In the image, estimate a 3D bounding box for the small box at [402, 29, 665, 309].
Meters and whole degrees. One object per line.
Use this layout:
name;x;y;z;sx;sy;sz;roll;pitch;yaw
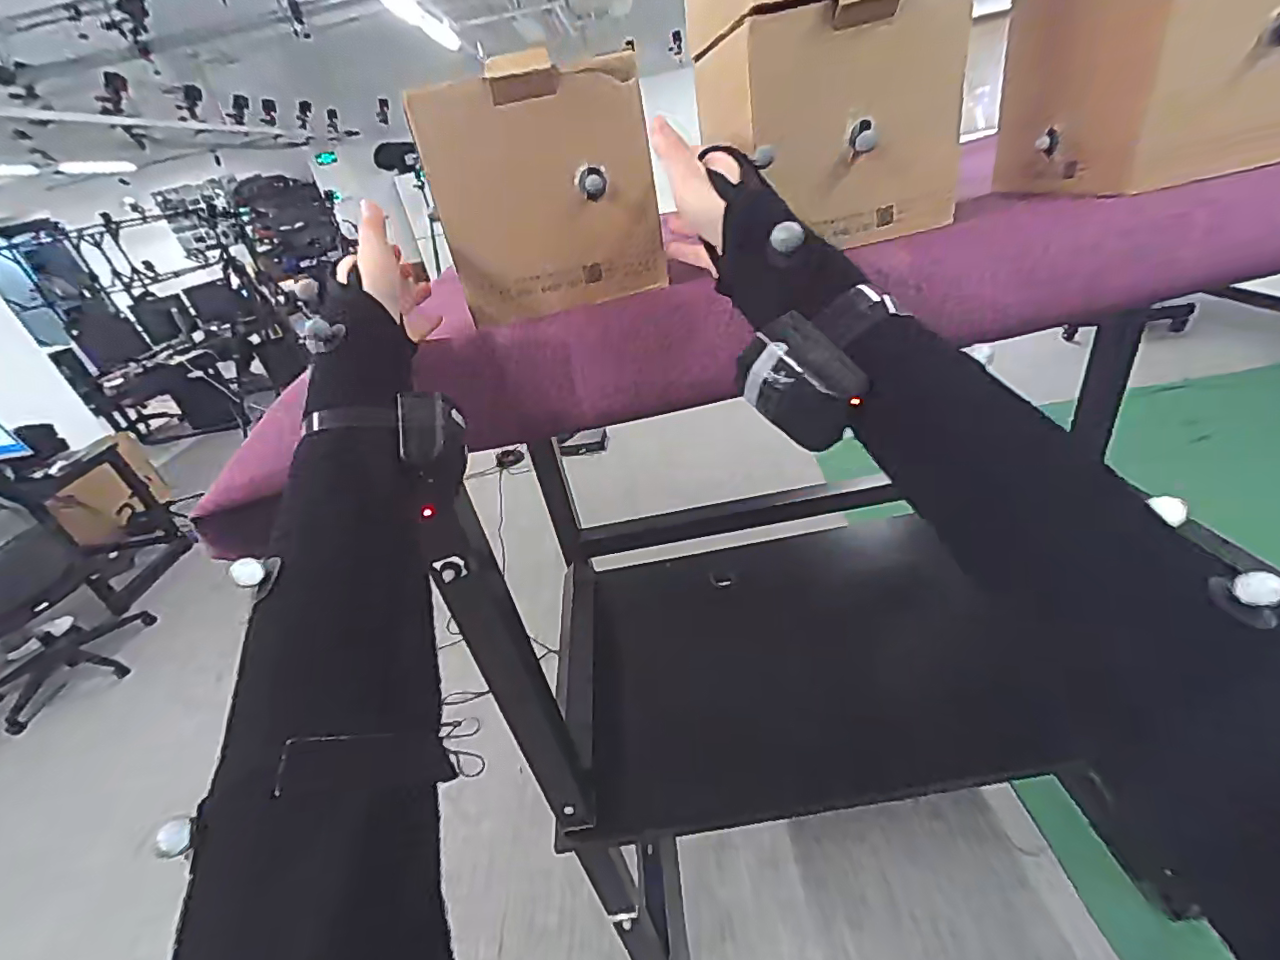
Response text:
small box;-0.080;-0.260;0.479;0.168;0.176;0.179;-12;30;-2

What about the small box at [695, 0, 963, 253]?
small box;0.155;-0.310;0.476;0.168;0.176;0.179;-13;31;0

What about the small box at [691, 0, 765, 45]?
small box;0.126;-0.446;0.390;0.168;0.176;0.179;-14;29;-2
